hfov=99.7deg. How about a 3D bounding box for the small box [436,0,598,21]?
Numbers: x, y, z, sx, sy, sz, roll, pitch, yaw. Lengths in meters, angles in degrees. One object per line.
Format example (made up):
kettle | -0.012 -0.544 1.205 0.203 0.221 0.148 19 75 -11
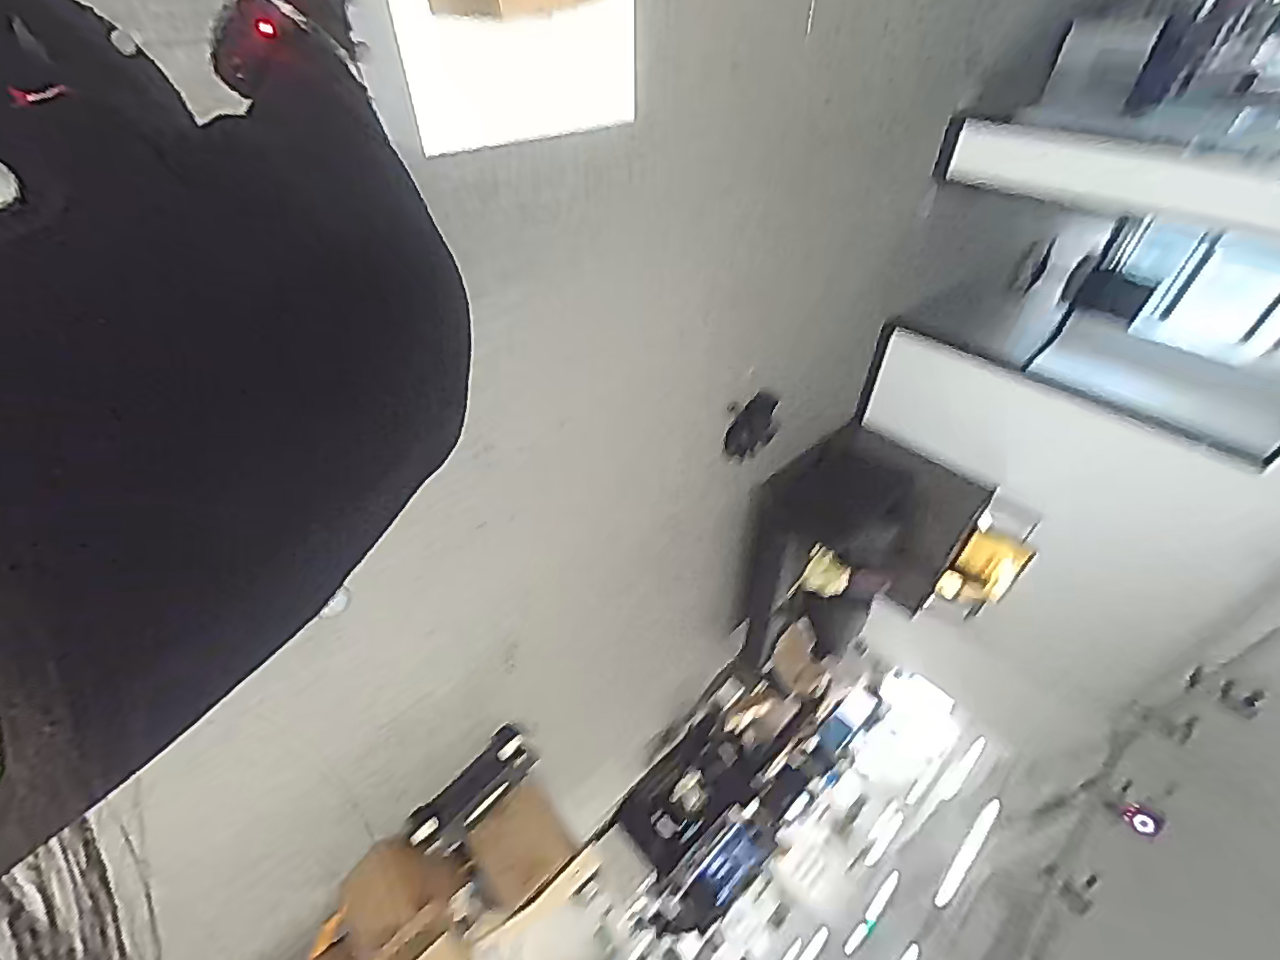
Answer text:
small box | -0.154 -0.640 0.600 0.168 0.176 0.179 -37 143 -25
